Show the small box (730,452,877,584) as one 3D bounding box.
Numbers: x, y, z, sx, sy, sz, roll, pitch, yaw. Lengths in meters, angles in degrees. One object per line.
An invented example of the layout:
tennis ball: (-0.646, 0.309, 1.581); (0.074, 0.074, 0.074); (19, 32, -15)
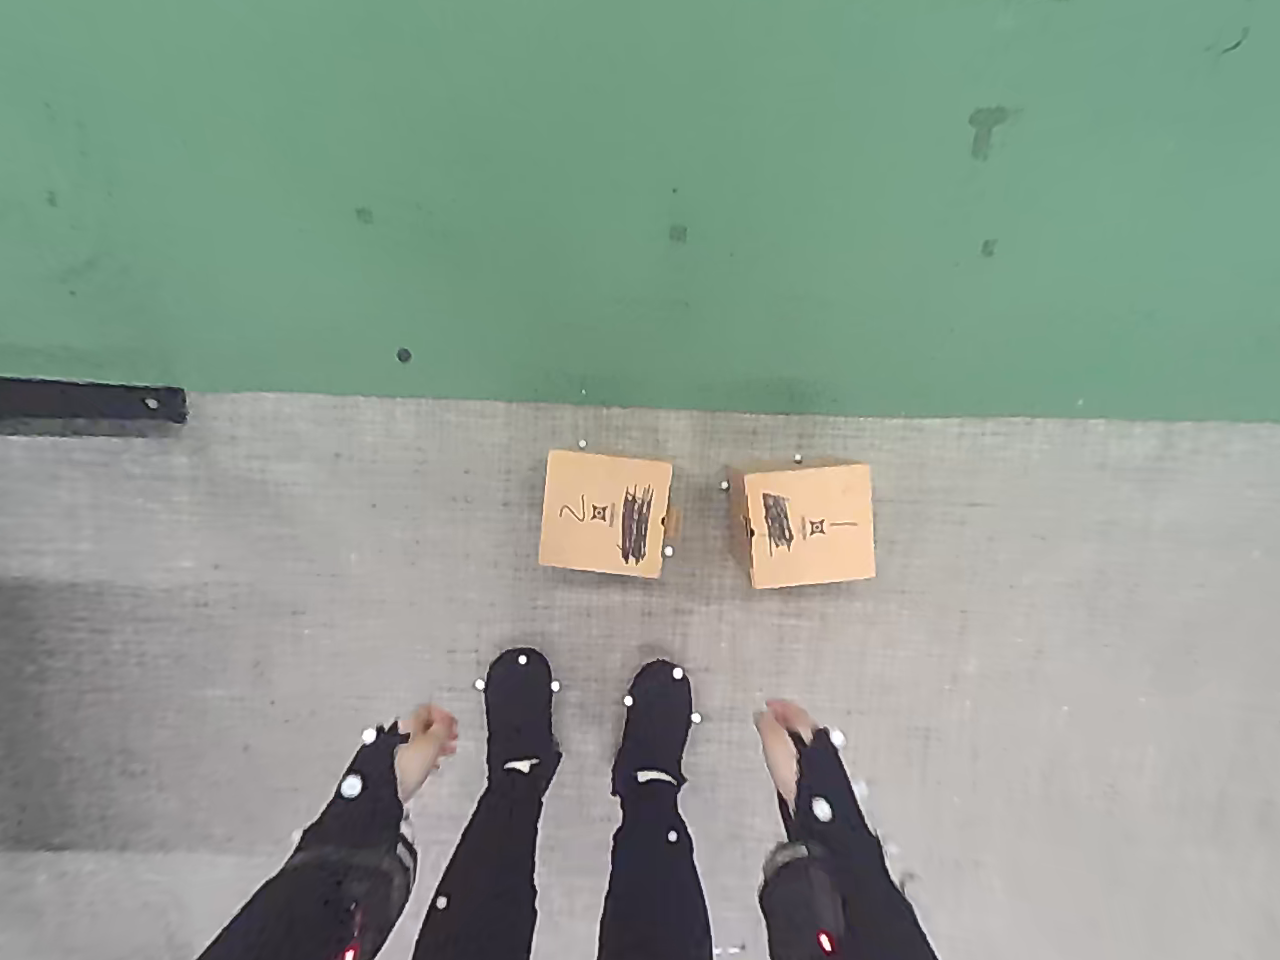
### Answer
small box: (0.234, 0.049, 0.818); (0.179, 0.176, 0.168); (-5, 97, 0)
